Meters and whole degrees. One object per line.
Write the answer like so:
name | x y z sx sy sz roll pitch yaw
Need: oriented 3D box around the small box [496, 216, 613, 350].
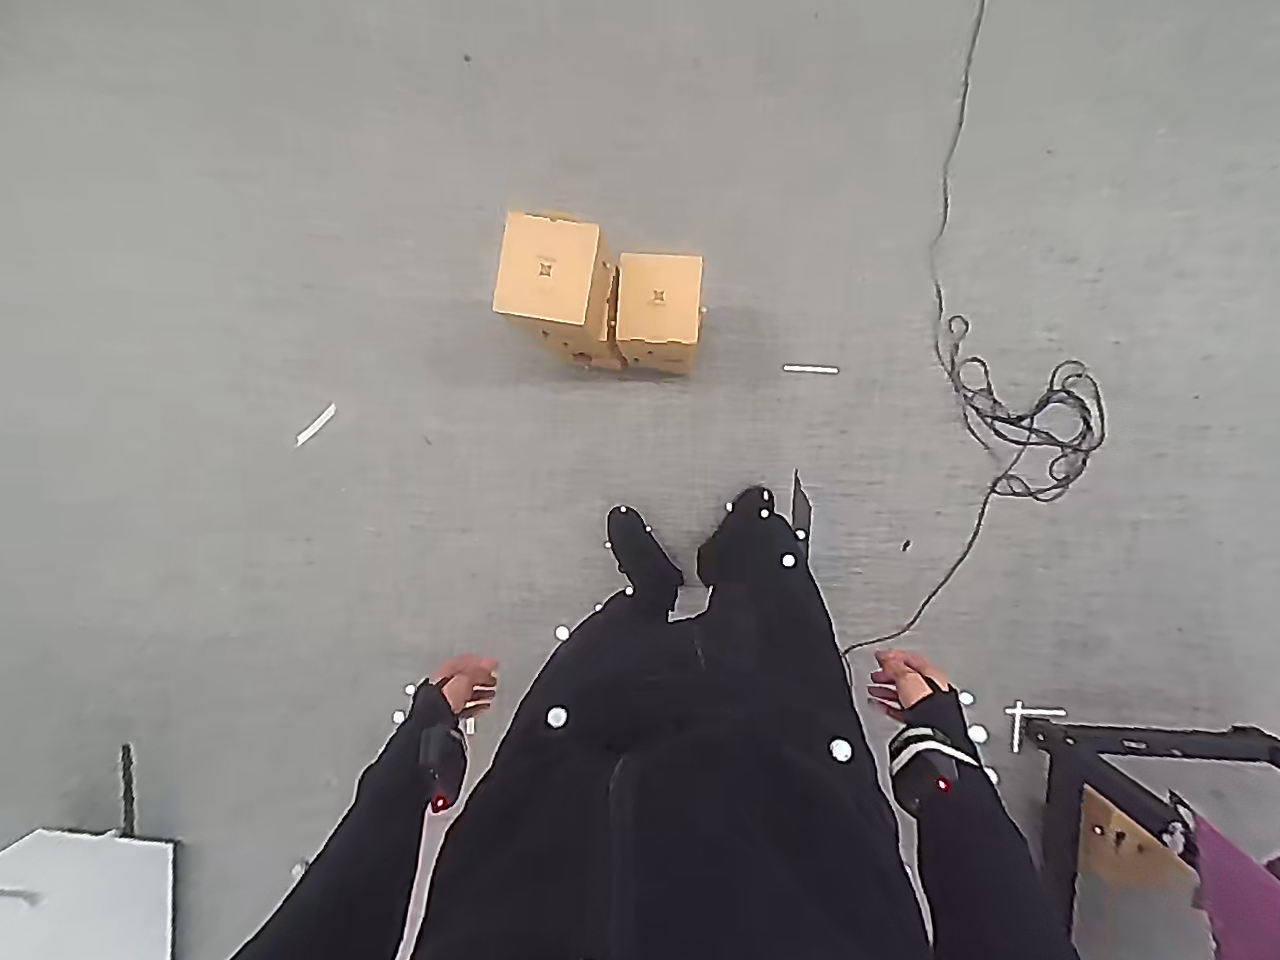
small box | -0.149 -0.357 1.006 0.168 0.176 0.179 11 93 4
